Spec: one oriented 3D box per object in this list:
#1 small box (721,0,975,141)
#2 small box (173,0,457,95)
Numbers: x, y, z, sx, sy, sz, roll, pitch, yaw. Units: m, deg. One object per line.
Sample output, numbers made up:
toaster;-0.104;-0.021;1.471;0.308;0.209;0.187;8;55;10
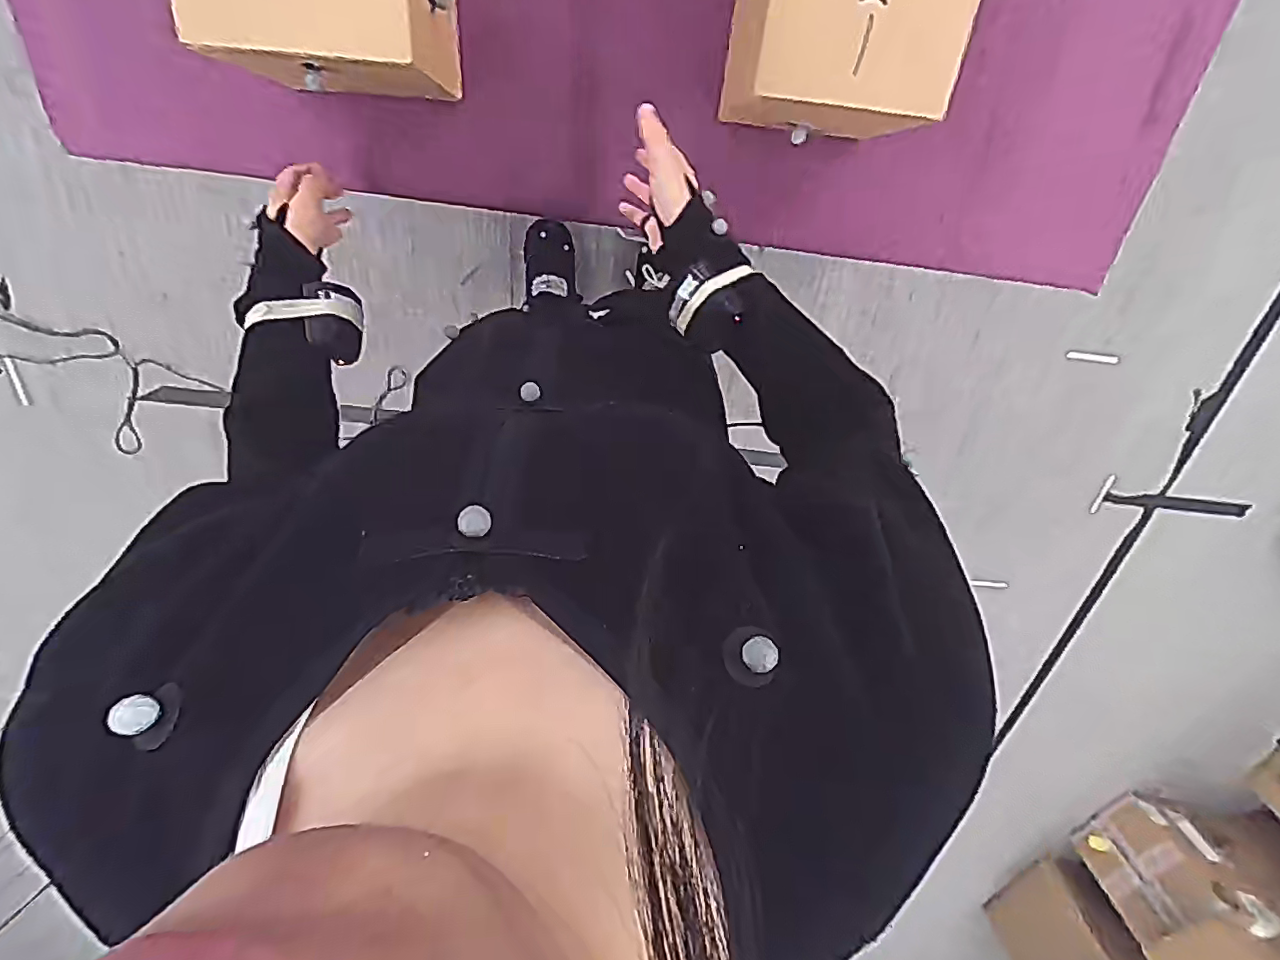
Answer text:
small box;0.177;-0.423;0.484;0.168;0.176;0.179;5;118;-5
small box;-0.261;-0.439;0.453;0.179;0.176;0.168;2;117;-4
